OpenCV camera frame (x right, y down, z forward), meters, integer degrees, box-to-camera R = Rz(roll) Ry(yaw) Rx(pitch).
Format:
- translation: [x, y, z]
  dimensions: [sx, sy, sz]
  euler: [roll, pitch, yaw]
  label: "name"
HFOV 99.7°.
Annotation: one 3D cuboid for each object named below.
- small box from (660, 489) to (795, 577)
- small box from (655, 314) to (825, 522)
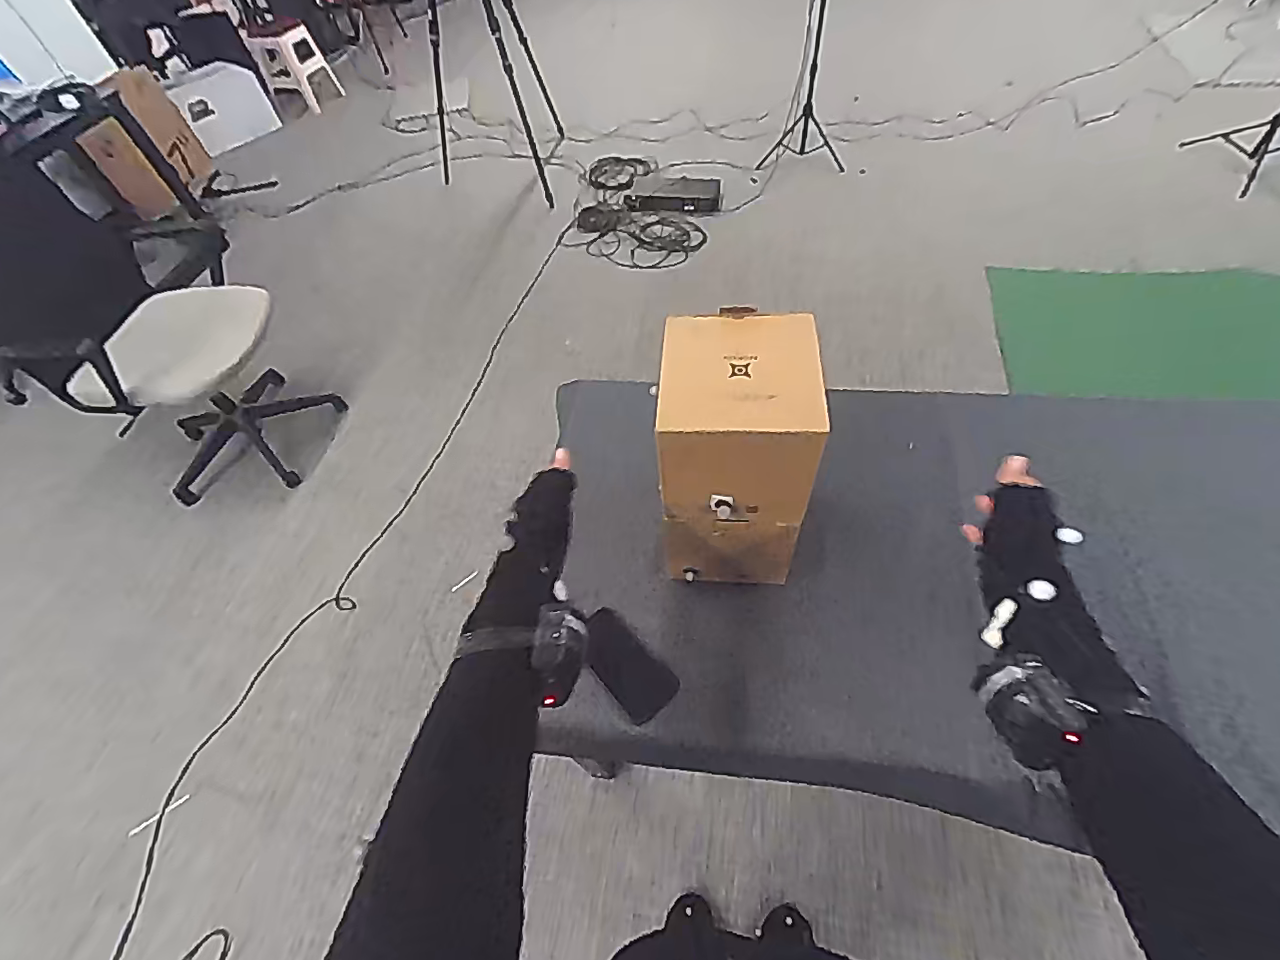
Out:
- translation: [0.121, 0.024, 0.762]
  dimensions: [0.168, 0.176, 0.179]
  euler: [2, 54, 7]
  label: "small box"
- translation: [0.109, -0.071, 0.630]
  dimensions: [0.168, 0.176, 0.179]
  euler: [2, 56, 7]
  label: "small box"
